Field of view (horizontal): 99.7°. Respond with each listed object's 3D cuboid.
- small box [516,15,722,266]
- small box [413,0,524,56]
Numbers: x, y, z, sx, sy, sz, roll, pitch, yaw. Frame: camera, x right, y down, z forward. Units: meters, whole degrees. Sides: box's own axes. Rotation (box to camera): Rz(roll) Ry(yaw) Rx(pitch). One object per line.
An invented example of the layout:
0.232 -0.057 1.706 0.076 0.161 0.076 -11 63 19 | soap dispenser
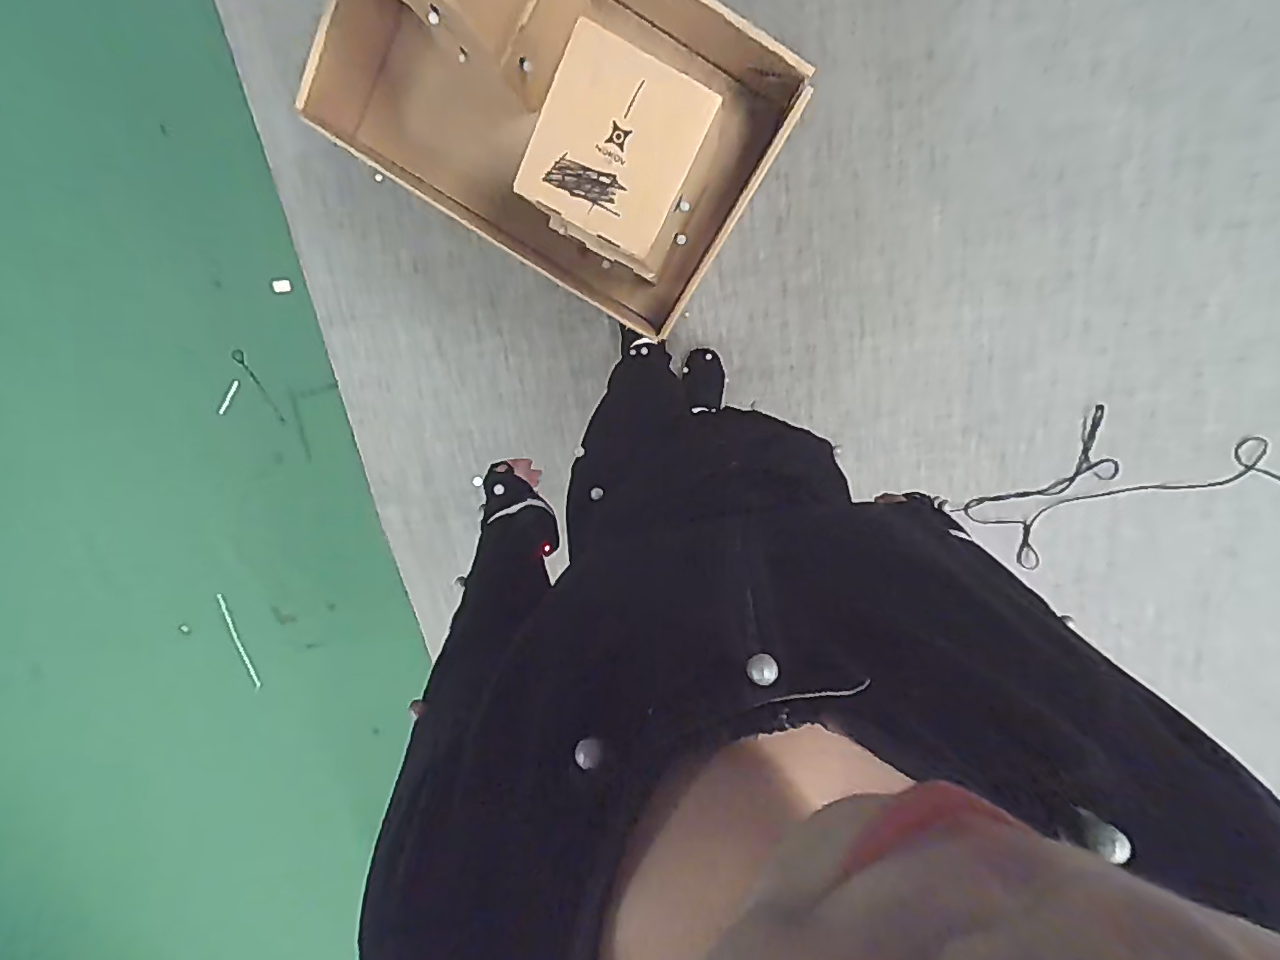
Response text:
-0.018 -0.376 0.642 0.168 0.176 0.179 28 107 -4 | small box
-0.209 -0.618 0.583 0.168 0.176 0.179 33 107 -6 | small box
